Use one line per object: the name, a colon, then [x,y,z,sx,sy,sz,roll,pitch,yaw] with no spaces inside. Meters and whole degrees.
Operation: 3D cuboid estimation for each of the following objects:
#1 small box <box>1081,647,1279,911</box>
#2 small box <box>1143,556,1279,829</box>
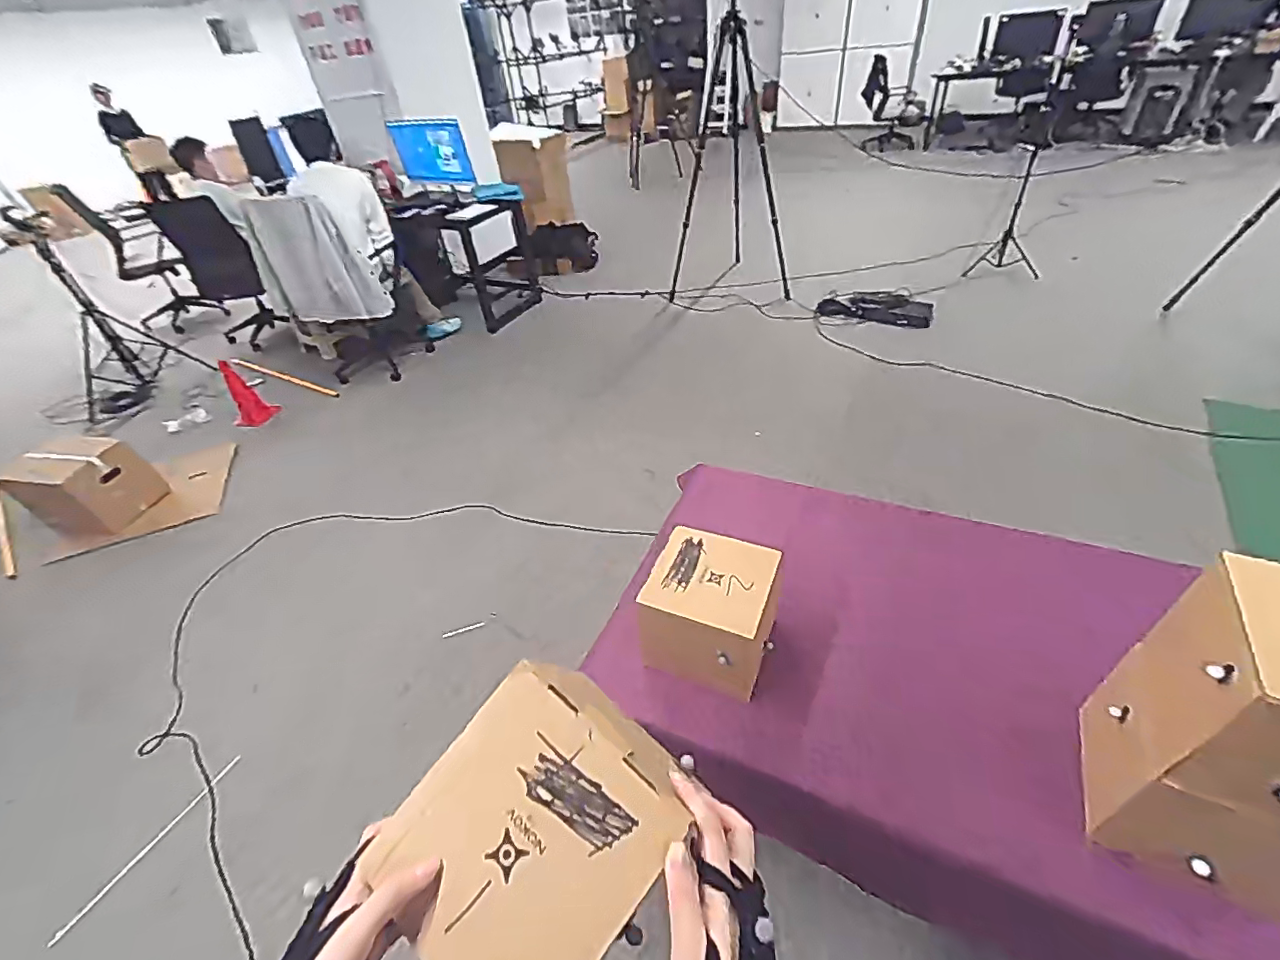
small box: [0.631,0.332,0.611,0.168,0.176,0.179,15,45,25]
small box: [0.618,0.208,0.506,0.168,0.176,0.179,16,46,25]
